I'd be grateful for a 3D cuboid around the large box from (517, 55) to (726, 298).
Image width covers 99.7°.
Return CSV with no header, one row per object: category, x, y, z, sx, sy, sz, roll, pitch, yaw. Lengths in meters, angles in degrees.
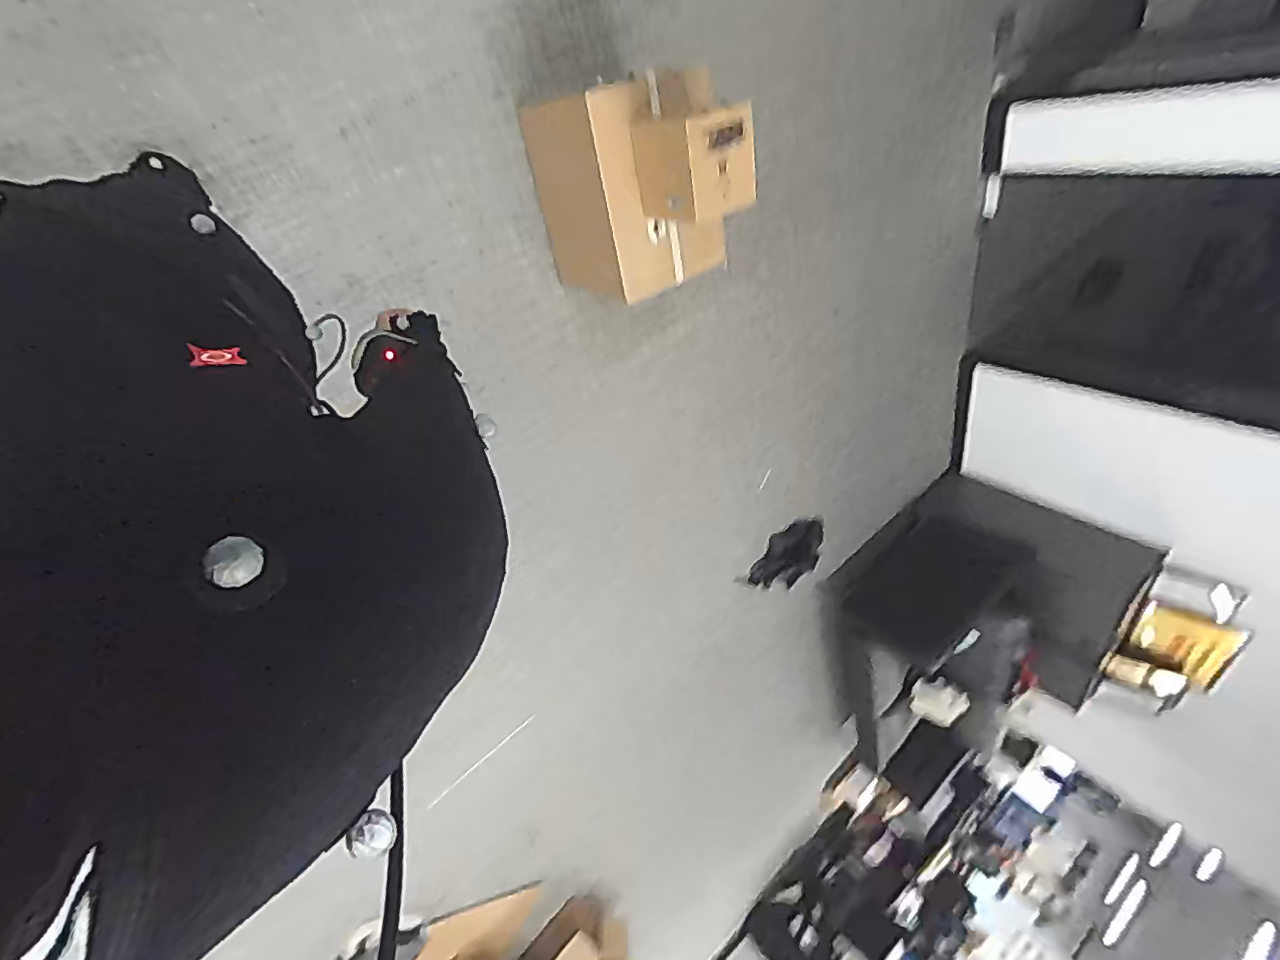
large box,-0.033,-0.697,1.259,0.320,0.320,0.408,-31,131,-21
